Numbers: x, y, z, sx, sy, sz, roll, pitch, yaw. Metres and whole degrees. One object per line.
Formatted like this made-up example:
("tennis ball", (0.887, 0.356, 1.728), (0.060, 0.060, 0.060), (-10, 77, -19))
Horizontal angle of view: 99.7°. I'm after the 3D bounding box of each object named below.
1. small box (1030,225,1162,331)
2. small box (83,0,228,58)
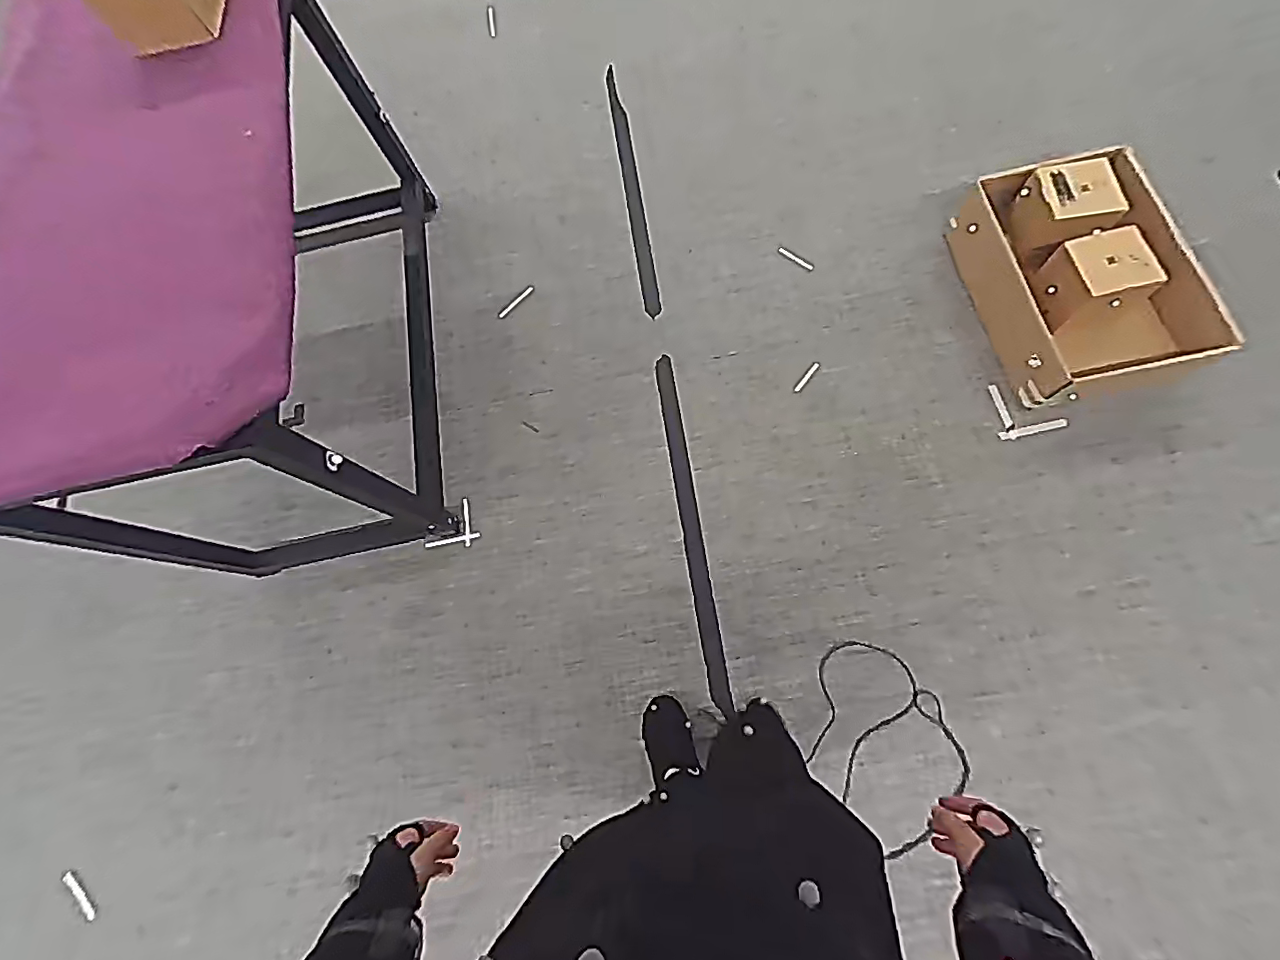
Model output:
("small box", (1.135, -0.503, 1.369), (0.179, 0.176, 0.168), (-13, 72, 3))
("small box", (-0.918, -0.927, 0.999), (0.179, 0.176, 0.168), (-7, 73, 5))
